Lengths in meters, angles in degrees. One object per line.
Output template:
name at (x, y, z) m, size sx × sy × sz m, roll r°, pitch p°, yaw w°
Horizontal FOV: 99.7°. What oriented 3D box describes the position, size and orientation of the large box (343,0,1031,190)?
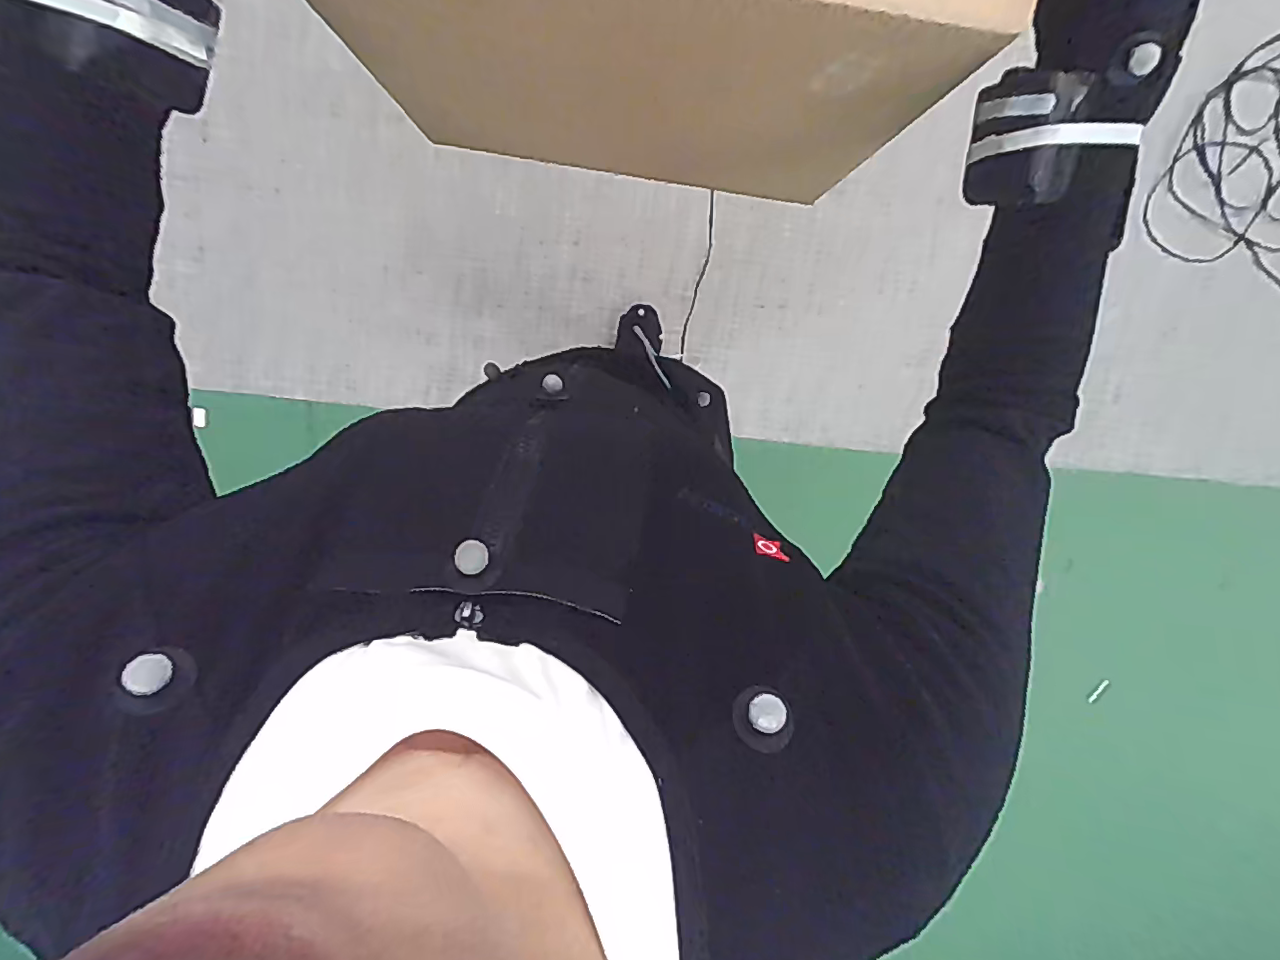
large box at (0.018, -0.441, 0.387) m, size 0.408 × 0.320 × 0.320 m, roll 6°, pitch 103°, yaw -5°
